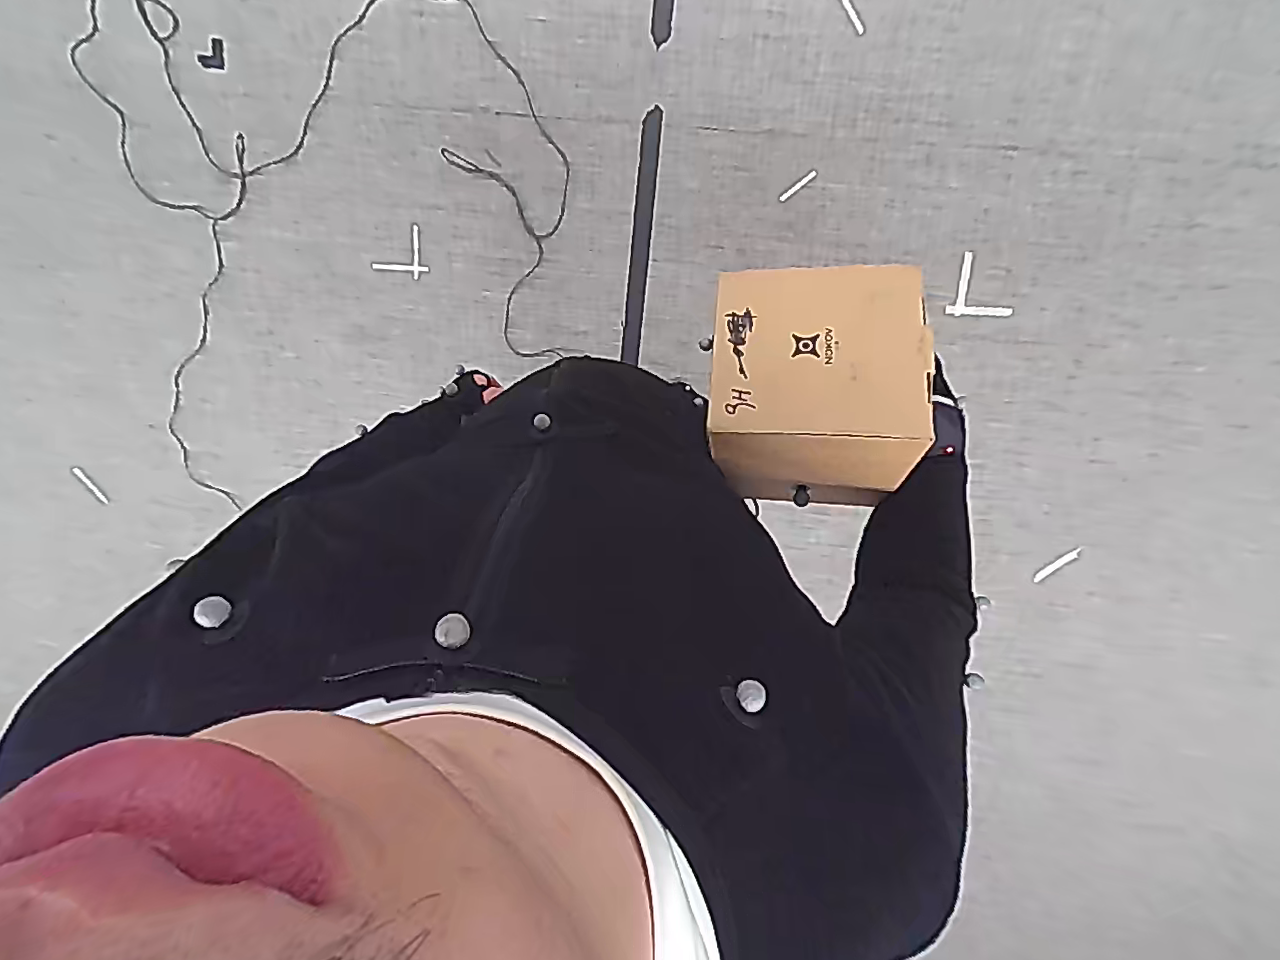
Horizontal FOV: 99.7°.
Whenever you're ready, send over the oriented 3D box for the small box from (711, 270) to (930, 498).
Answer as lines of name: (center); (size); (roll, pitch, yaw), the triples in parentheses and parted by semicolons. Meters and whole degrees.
small box: (0.168, -0.086, 0.544); (0.179, 0.176, 0.168); (3, 70, 11)
